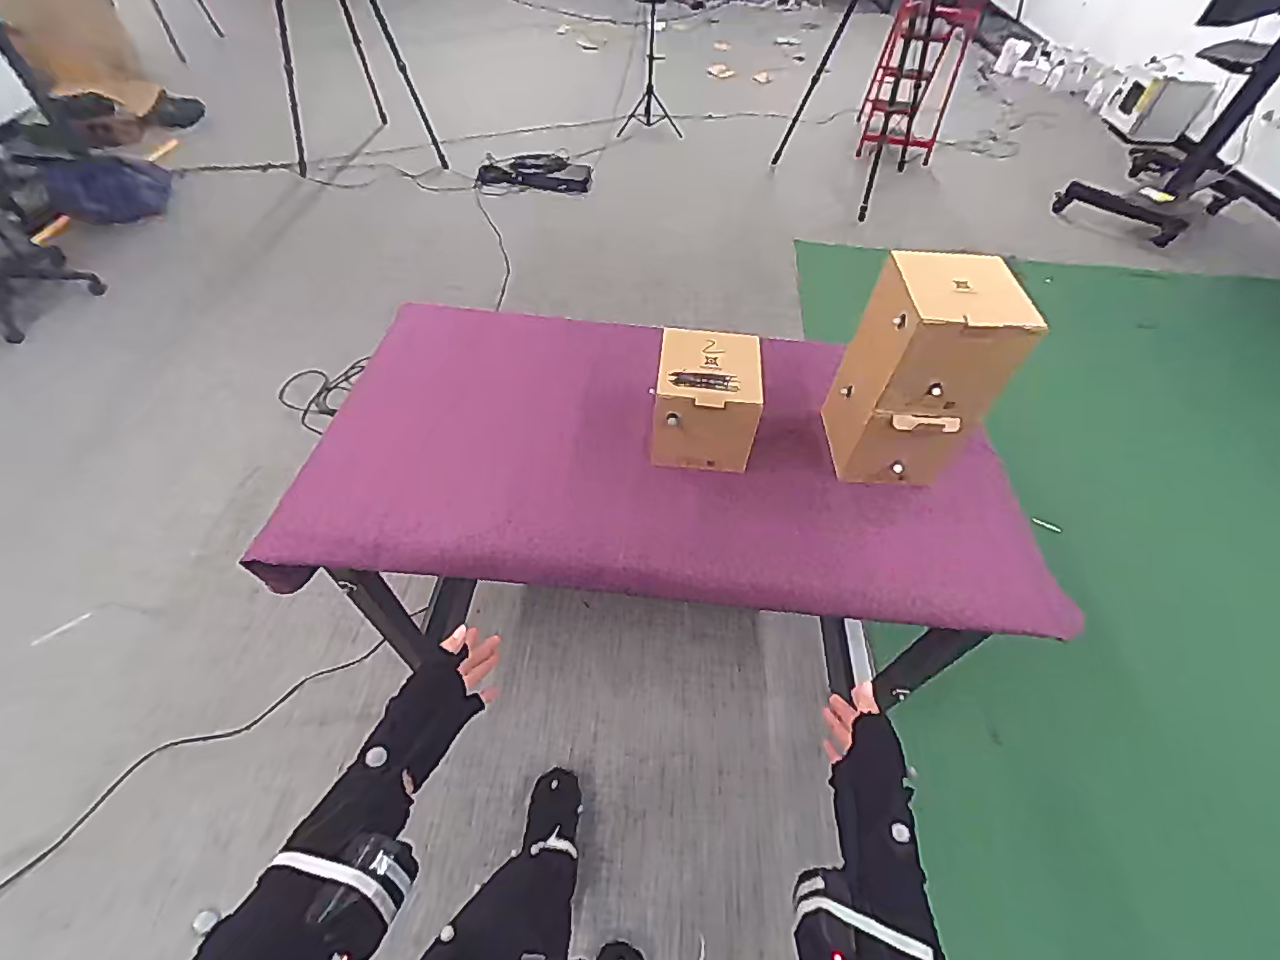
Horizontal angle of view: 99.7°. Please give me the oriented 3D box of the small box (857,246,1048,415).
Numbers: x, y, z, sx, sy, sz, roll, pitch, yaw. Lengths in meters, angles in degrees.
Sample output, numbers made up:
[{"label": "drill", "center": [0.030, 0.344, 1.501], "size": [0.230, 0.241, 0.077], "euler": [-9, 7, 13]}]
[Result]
[{"label": "small box", "center": [0.443, -0.220, 0.805], "size": [0.168, 0.176, 0.179], "euler": [3, 53, 0]}]

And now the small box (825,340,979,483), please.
[{"label": "small box", "center": [0.433, -0.117, 0.932], "size": [0.168, 0.176, 0.179], "euler": [3, 52, 0]}]
